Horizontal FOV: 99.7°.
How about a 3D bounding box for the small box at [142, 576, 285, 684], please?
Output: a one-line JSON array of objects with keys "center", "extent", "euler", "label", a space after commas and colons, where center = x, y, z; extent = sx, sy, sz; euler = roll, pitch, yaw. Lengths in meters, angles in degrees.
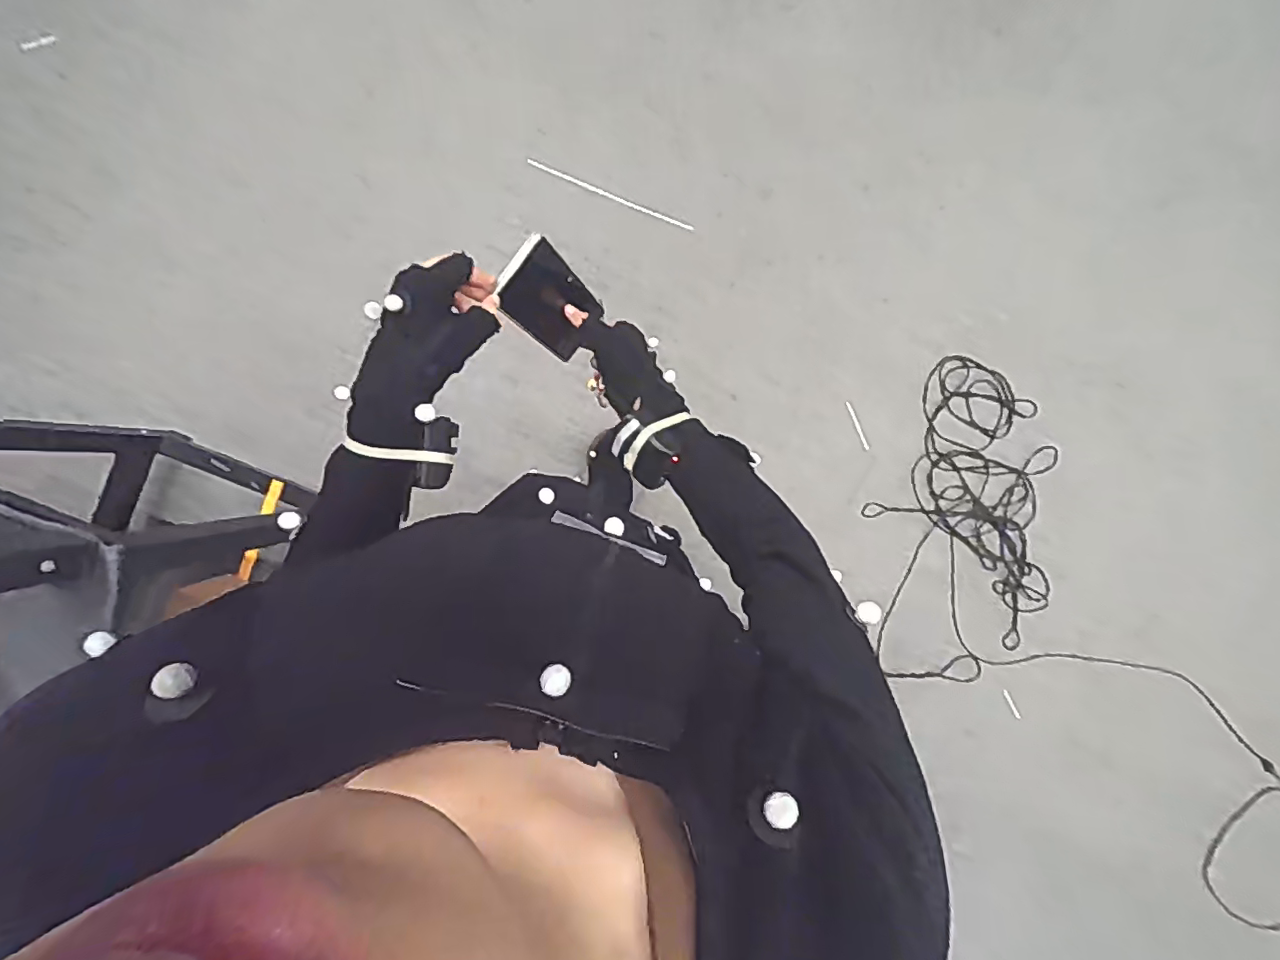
[{"center": [-0.993, 0.343, 1.277], "extent": [0.179, 0.176, 0.168], "euler": [25, 91, -2], "label": "small box"}]
